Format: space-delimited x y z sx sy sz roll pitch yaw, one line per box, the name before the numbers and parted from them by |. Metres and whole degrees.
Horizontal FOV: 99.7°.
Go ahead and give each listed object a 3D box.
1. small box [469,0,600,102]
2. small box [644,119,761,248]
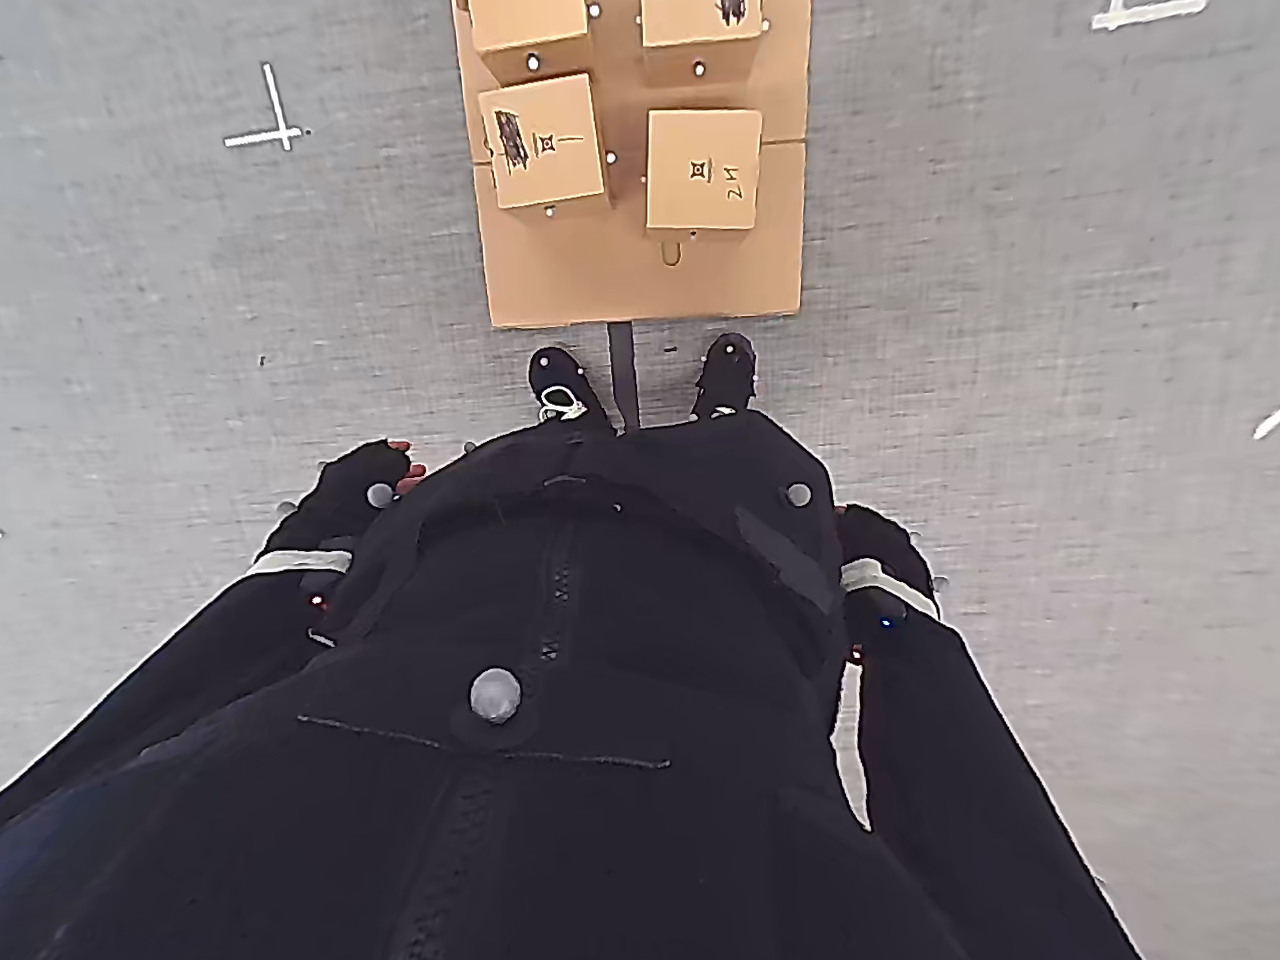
small box | -0.163 -0.741 0.871 0.179 0.176 0.168 -5 106 6
small box | 0.102 -0.498 0.929 0.179 0.176 0.168 3 107 3
